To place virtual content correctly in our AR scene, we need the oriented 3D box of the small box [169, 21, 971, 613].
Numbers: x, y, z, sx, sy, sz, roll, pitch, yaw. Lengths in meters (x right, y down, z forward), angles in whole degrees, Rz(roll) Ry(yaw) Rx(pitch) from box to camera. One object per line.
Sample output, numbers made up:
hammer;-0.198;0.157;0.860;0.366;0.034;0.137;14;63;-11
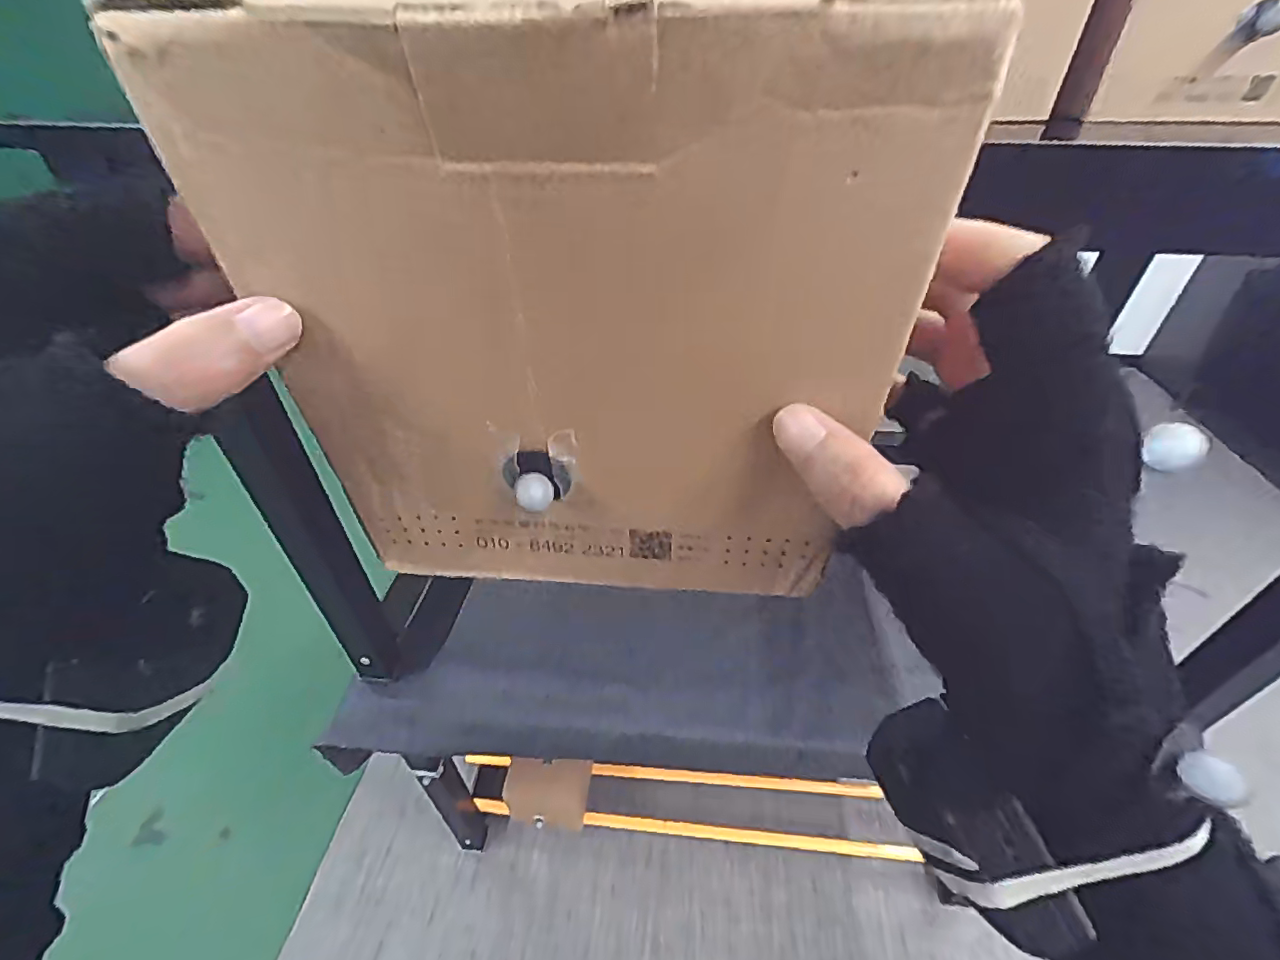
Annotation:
small box;-0.011;-0.070;0.221;0.168;0.176;0.179;2;45;4
